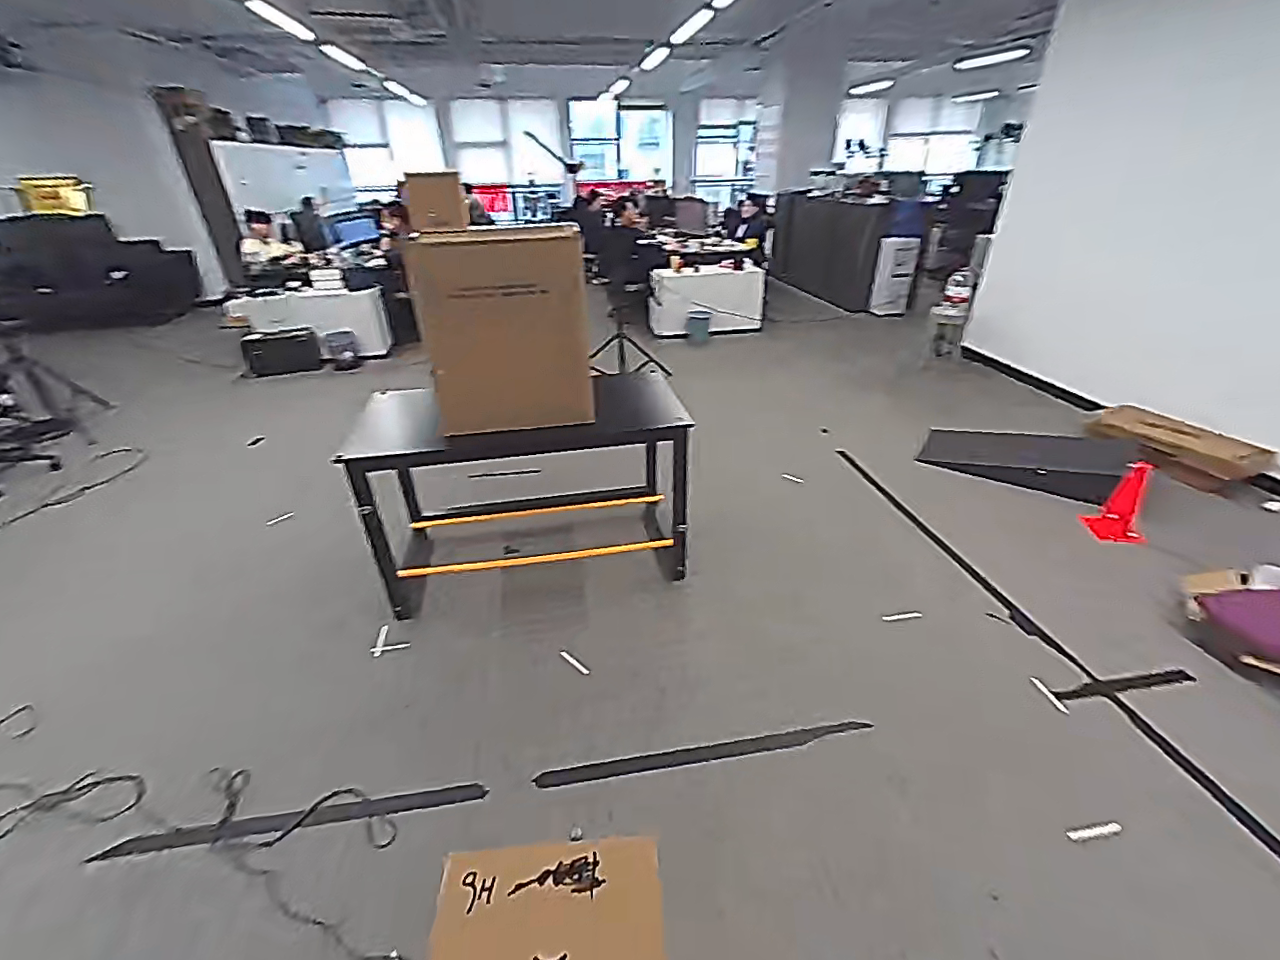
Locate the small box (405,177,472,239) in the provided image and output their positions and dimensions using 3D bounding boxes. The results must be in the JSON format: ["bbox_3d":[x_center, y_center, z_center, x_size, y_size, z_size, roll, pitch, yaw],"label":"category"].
[{"bbox_3d":[-0.640,-0.872,1.734,0.168,0.176,0.179,-9,30,-11],"label":"small box"}]
